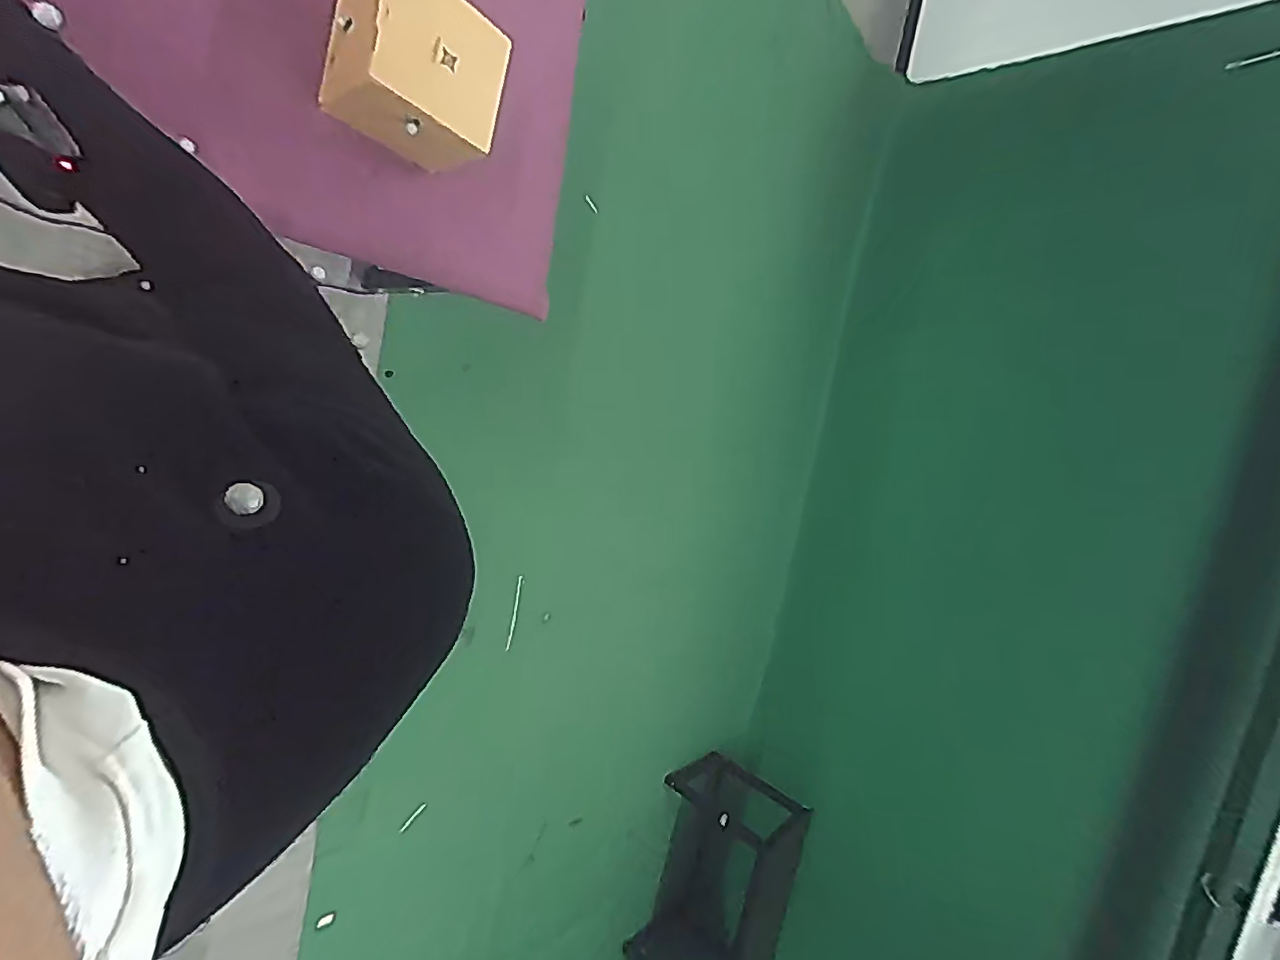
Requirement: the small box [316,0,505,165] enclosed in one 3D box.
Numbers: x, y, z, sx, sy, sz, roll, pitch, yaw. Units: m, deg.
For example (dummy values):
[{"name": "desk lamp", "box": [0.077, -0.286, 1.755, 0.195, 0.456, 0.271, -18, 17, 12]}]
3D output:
[{"name": "small box", "box": [-0.329, -0.581, 0.775, 0.179, 0.176, 0.168, 9, 95, -50]}]
